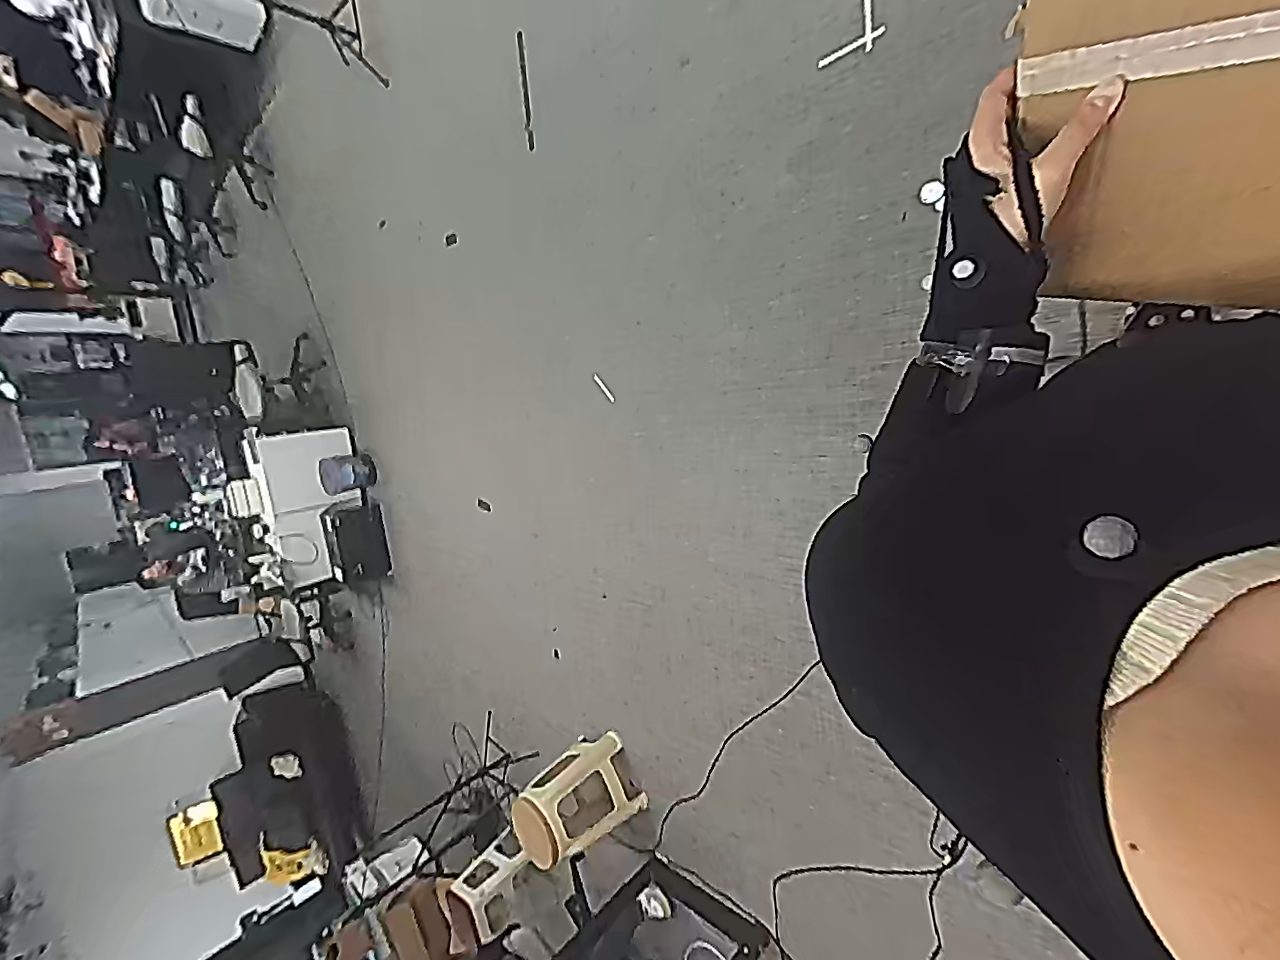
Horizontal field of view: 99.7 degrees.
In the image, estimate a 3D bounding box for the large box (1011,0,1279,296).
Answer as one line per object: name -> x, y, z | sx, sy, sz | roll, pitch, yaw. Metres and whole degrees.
large box -> 0.474, -0.313, 0.273 | 0.408, 0.320, 0.320 | 20, 151, 42
